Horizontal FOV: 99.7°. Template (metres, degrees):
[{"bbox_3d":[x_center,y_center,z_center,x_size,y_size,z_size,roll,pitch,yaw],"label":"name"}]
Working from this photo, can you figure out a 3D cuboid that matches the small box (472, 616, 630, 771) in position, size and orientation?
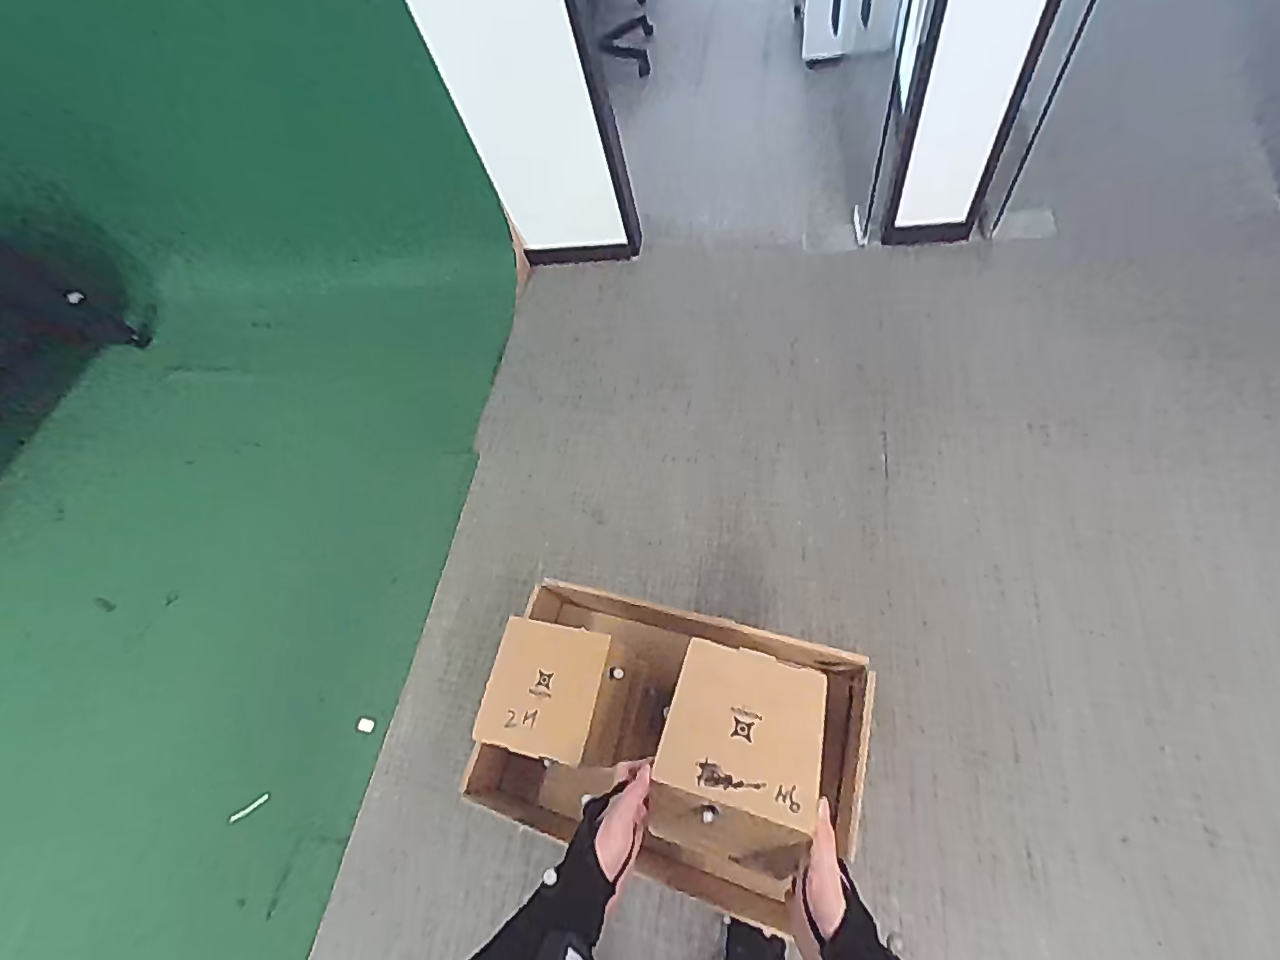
[{"bbox_3d":[-0.121,0.326,0.825,0.168,0.176,0.179,8,66,16],"label":"small box"}]

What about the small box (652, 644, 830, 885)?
[{"bbox_3d":[0.114,0.331,0.636,0.168,0.176,0.179,13,43,13],"label":"small box"}]
